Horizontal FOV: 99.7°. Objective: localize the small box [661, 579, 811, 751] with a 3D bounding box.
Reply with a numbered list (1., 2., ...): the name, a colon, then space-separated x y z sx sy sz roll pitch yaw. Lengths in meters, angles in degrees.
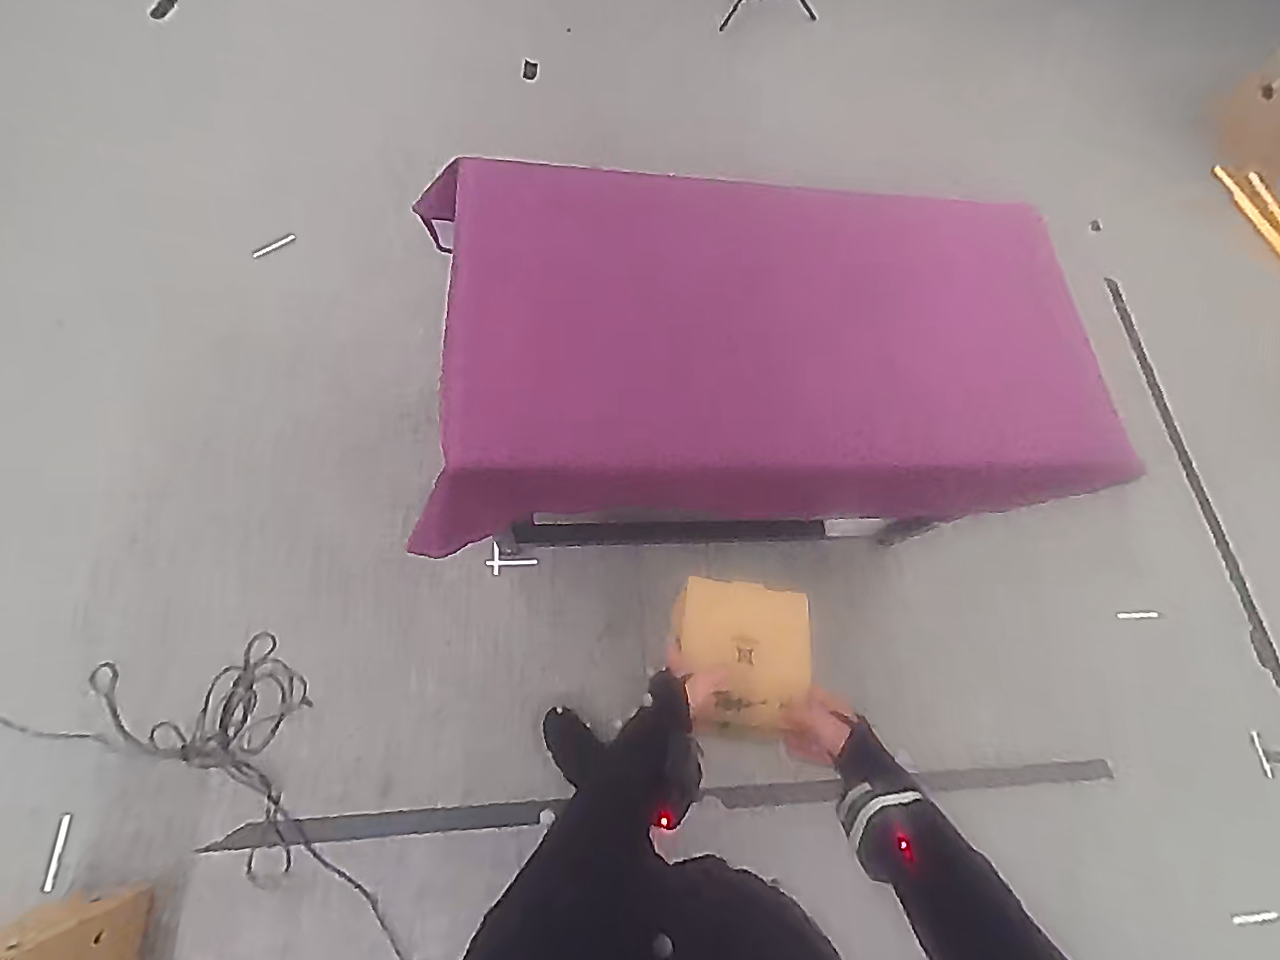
1. small box: 0.122 0.256 0.737 0.168 0.176 0.179 8 59 1
